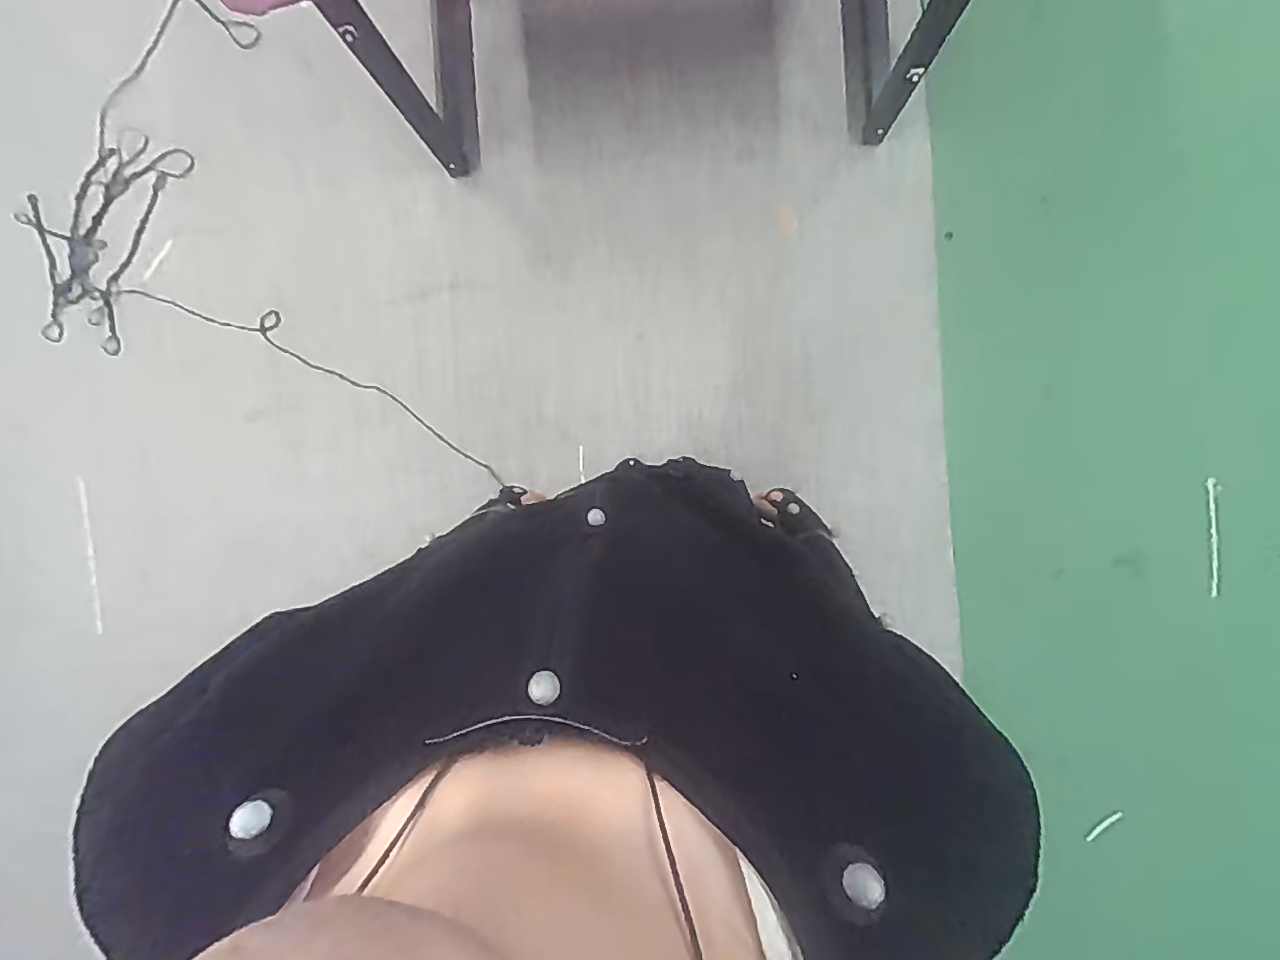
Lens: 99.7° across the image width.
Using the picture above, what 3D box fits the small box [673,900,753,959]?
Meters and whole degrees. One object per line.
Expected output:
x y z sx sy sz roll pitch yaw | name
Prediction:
0.179 1.159 1.283 0.168 0.176 0.179 -16 91 4 | small box

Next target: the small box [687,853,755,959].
0.211 1.141 1.445 0.168 0.176 0.179 1 93 5 | small box
